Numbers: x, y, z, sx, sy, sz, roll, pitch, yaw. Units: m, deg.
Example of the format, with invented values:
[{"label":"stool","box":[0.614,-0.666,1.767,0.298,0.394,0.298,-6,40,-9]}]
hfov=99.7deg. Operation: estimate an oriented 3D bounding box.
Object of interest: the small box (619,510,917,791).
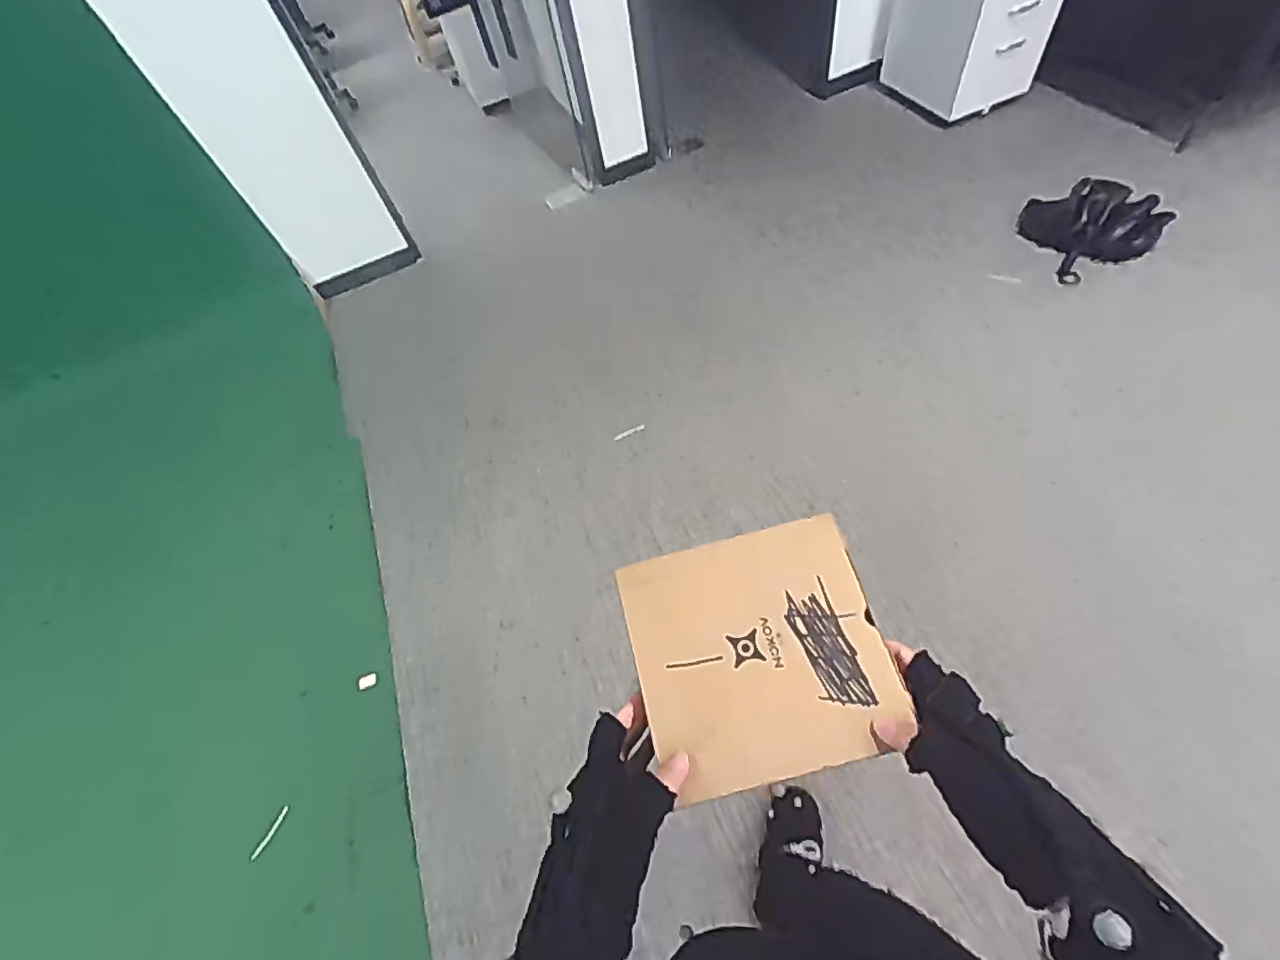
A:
[{"label":"small box","box":[0.090,0.146,0.459,0.179,0.176,0.168,-14,64,-1]}]
